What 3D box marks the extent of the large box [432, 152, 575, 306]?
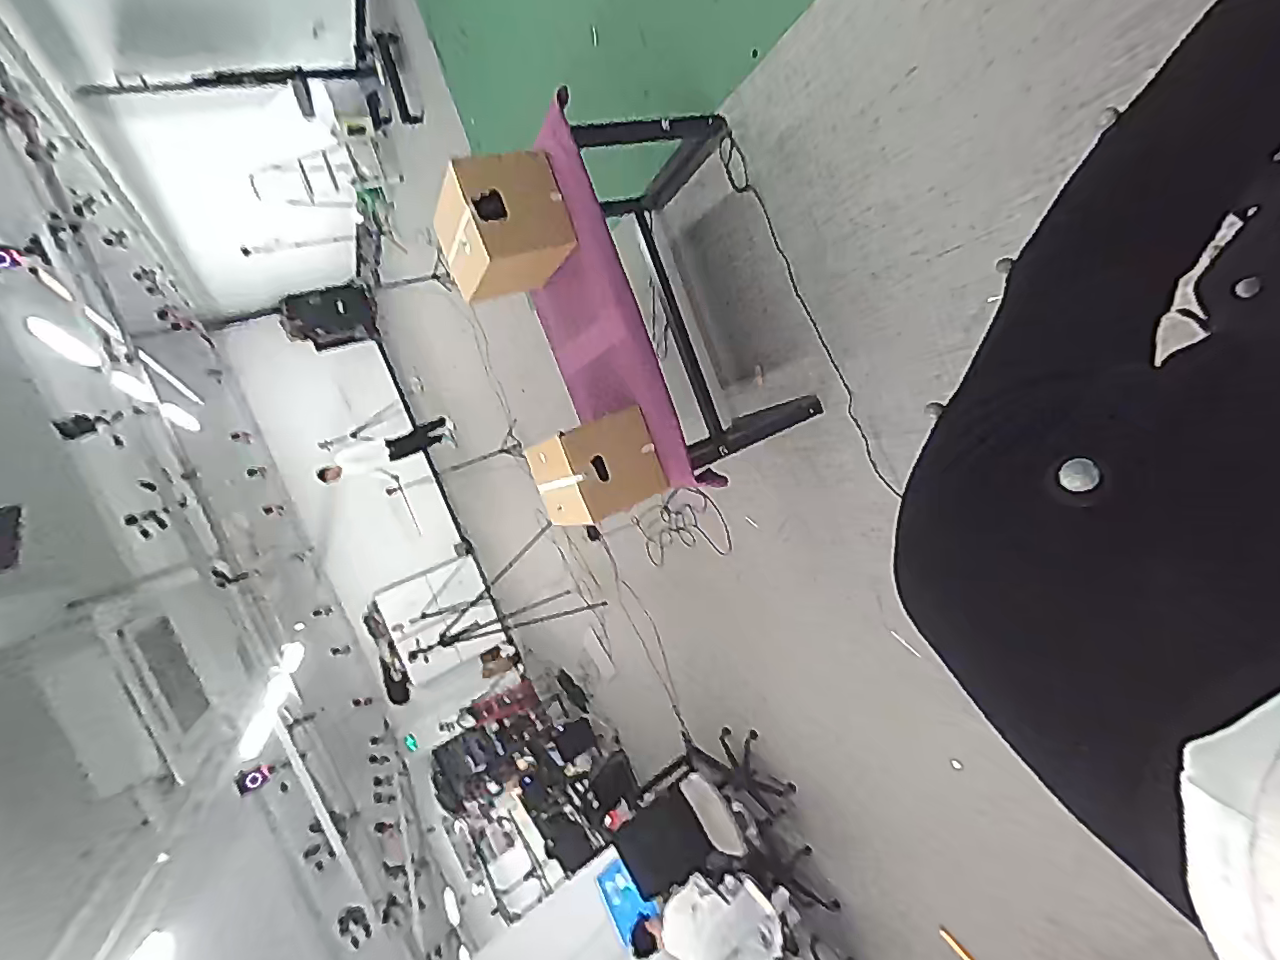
[{"bbox_3d":[-0.471,-0.835,1.827,0.408,0.320,0.320,-9,105,61],"label":"large box"}]
